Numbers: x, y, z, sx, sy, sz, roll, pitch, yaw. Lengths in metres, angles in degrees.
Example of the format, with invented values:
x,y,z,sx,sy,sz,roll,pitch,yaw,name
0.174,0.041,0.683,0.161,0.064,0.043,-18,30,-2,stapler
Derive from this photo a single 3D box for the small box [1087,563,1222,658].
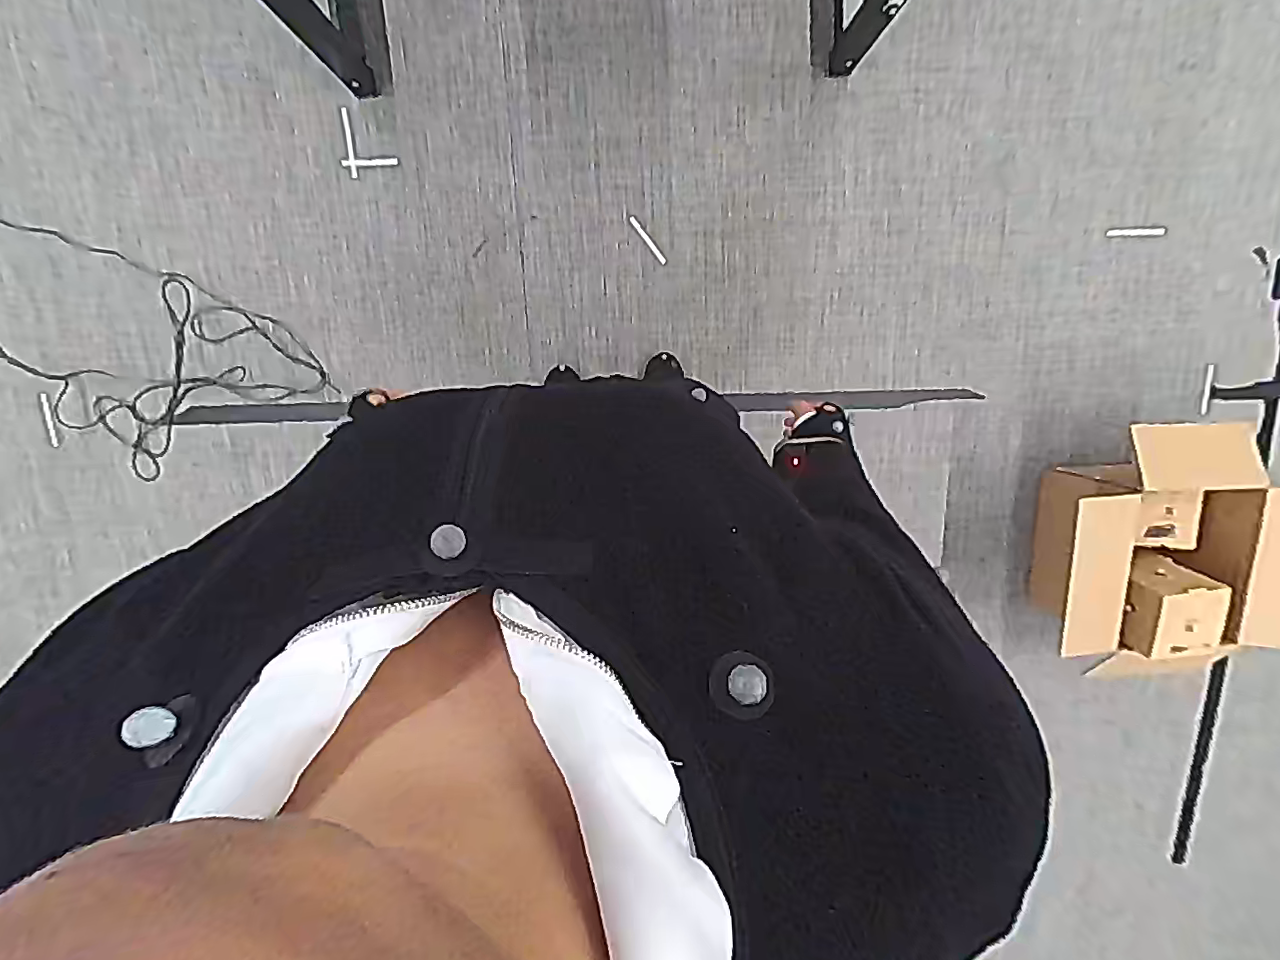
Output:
x,y,z,sx,sy,sz,roll,pitch,yaw,name
1.268,0.315,1.347,0.168,0.176,0.179,-5,106,-2,small box
